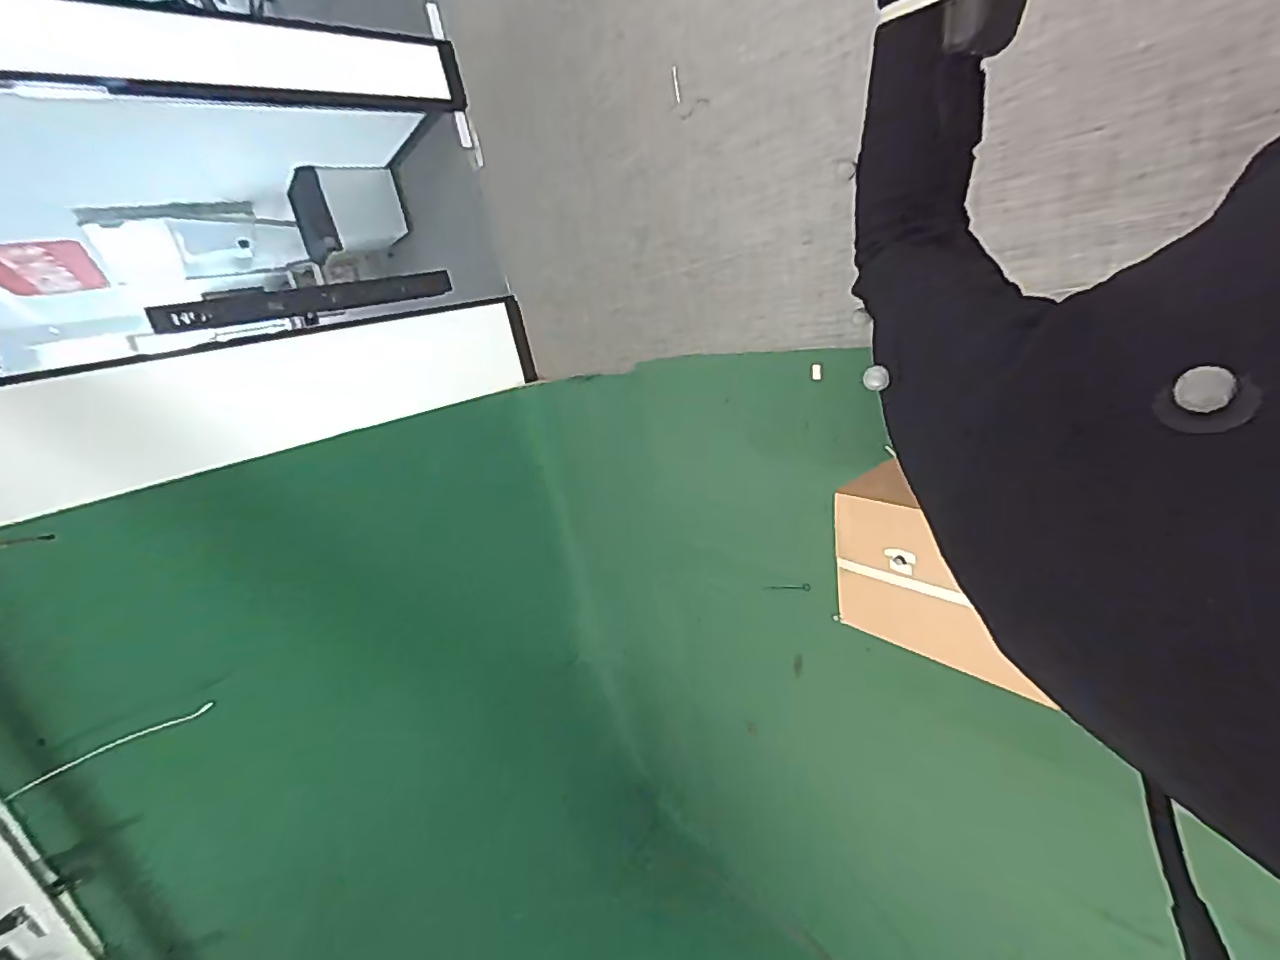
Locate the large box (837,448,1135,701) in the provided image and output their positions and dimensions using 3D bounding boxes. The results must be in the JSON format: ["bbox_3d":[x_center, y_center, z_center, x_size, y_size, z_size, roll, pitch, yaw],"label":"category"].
[{"bbox_3d":[0.657,0.143,1.060,0.408,0.320,0.320,16,120,50],"label":"large box"}]
